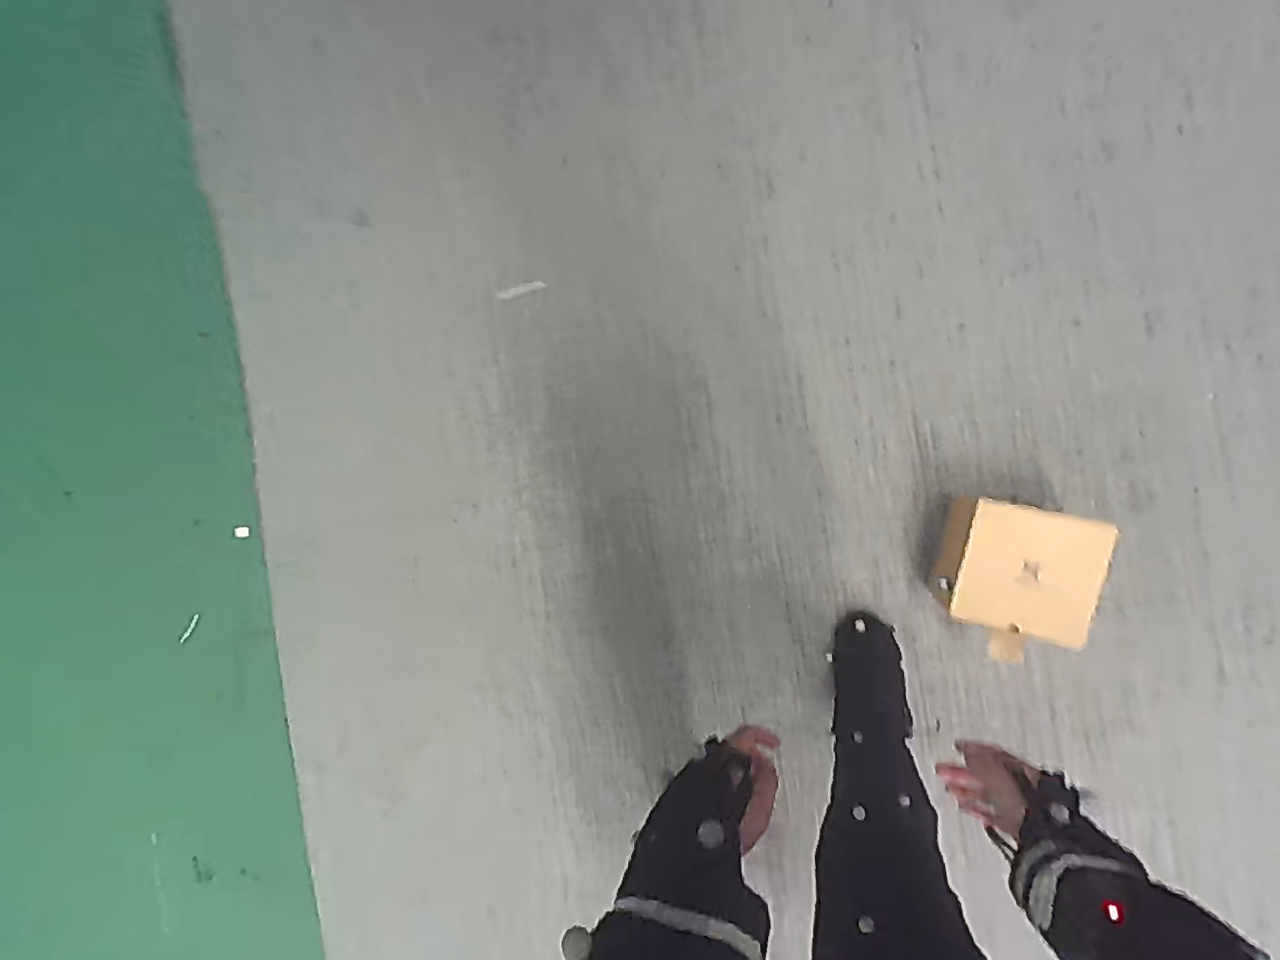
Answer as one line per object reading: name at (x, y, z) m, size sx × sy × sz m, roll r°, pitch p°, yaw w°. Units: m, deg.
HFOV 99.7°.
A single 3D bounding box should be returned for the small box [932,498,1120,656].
small box at (0.558, 0.130, 0.810) m, size 0.168 × 0.176 × 0.179 m, roll 13°, pitch 97°, yaw 18°
